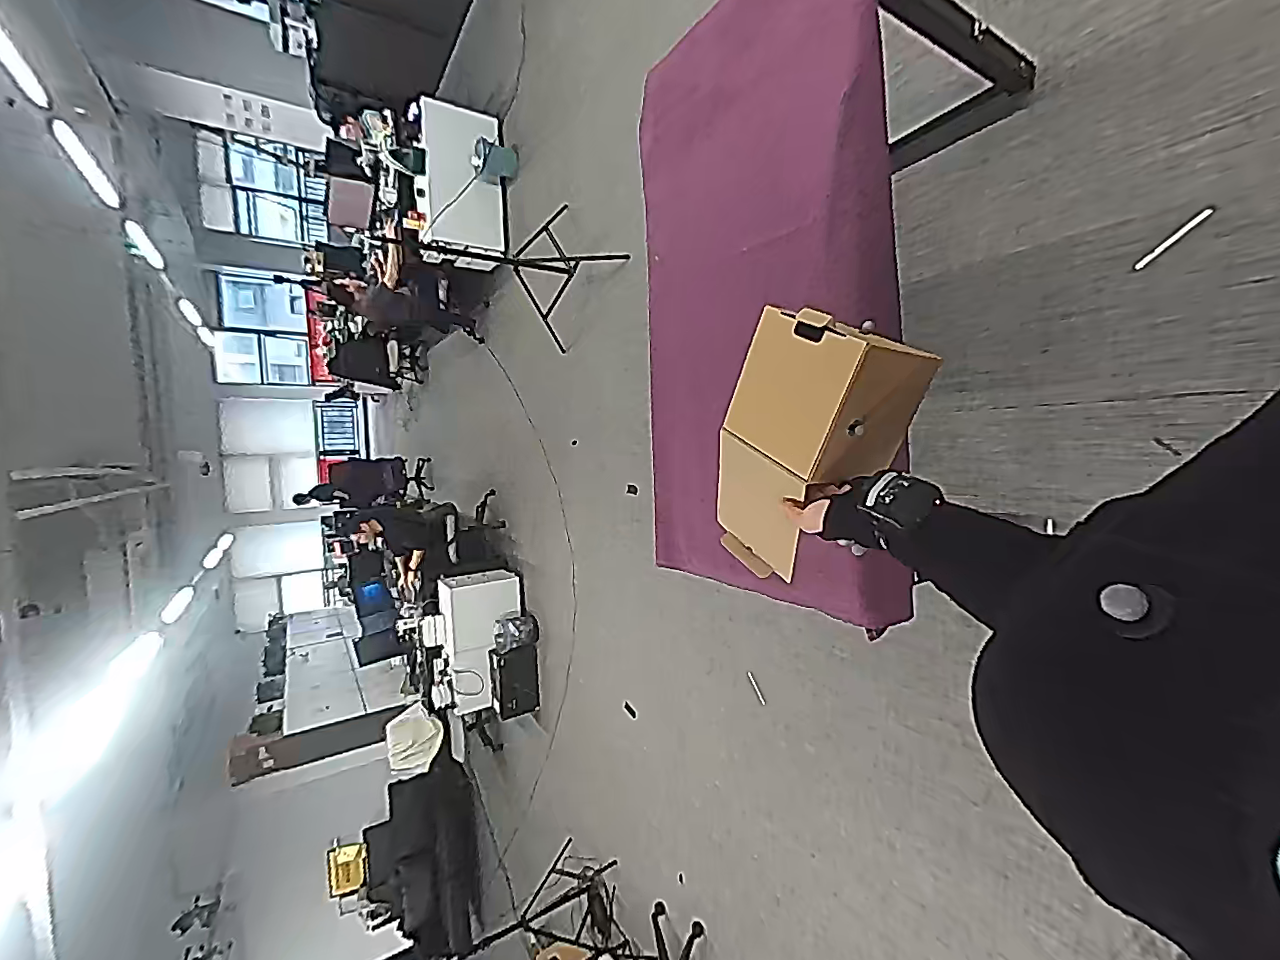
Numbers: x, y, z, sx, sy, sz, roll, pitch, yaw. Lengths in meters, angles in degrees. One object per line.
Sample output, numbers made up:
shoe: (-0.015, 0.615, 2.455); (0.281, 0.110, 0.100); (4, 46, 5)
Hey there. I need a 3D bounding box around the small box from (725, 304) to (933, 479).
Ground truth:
small box: (0.249, -0.115, 0.720); (0.168, 0.176, 0.179); (43, 124, 45)
